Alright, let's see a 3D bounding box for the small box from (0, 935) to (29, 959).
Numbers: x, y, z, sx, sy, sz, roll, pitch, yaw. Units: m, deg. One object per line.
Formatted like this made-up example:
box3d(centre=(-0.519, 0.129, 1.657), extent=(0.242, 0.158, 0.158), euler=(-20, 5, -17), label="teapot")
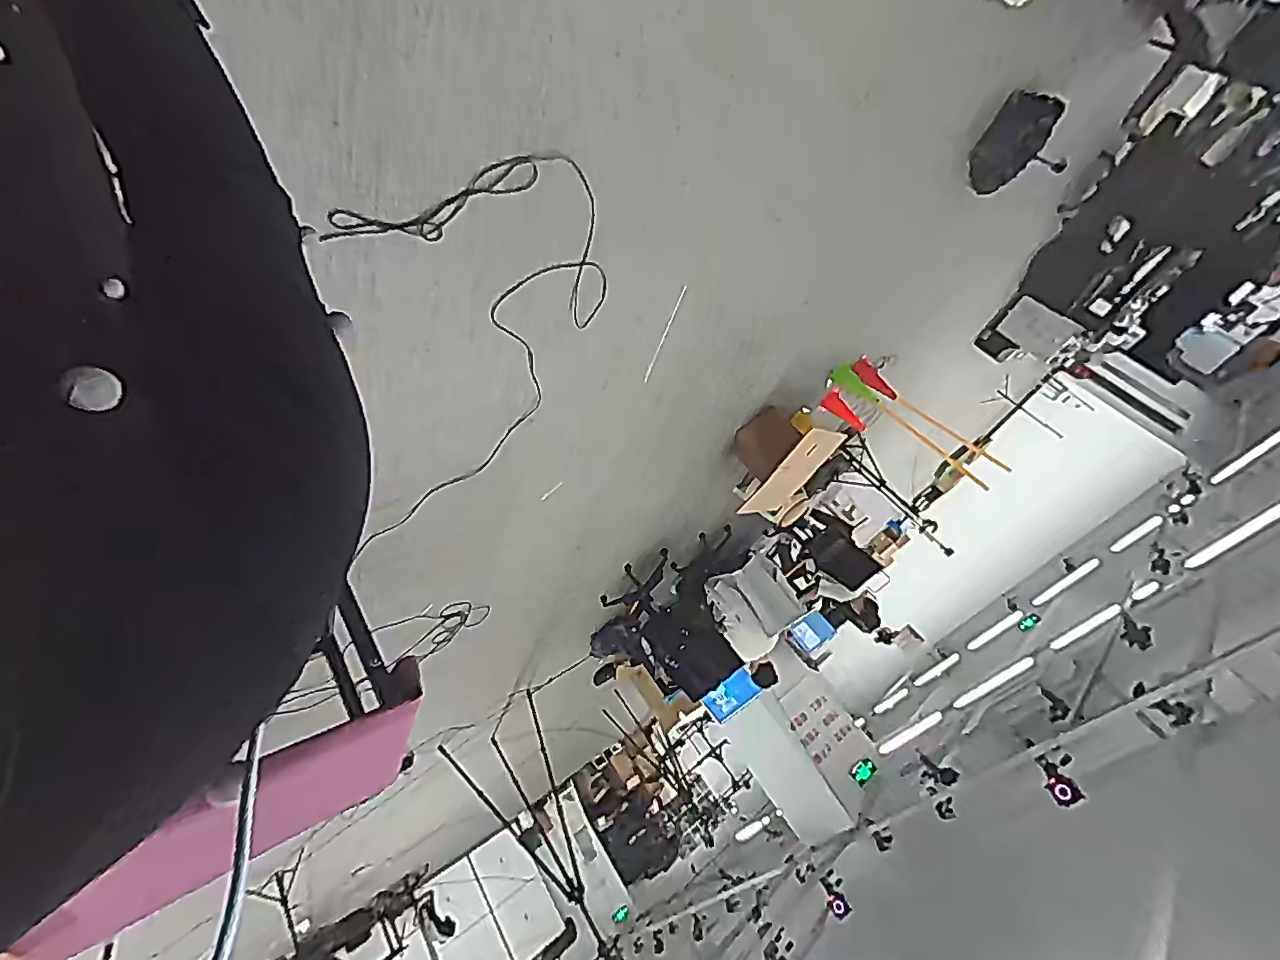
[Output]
box3d(centre=(-1.471, 1.142, 1.176), extent=(0.168, 0.176, 0.179), euler=(-18, 147, -40), label="small box")
